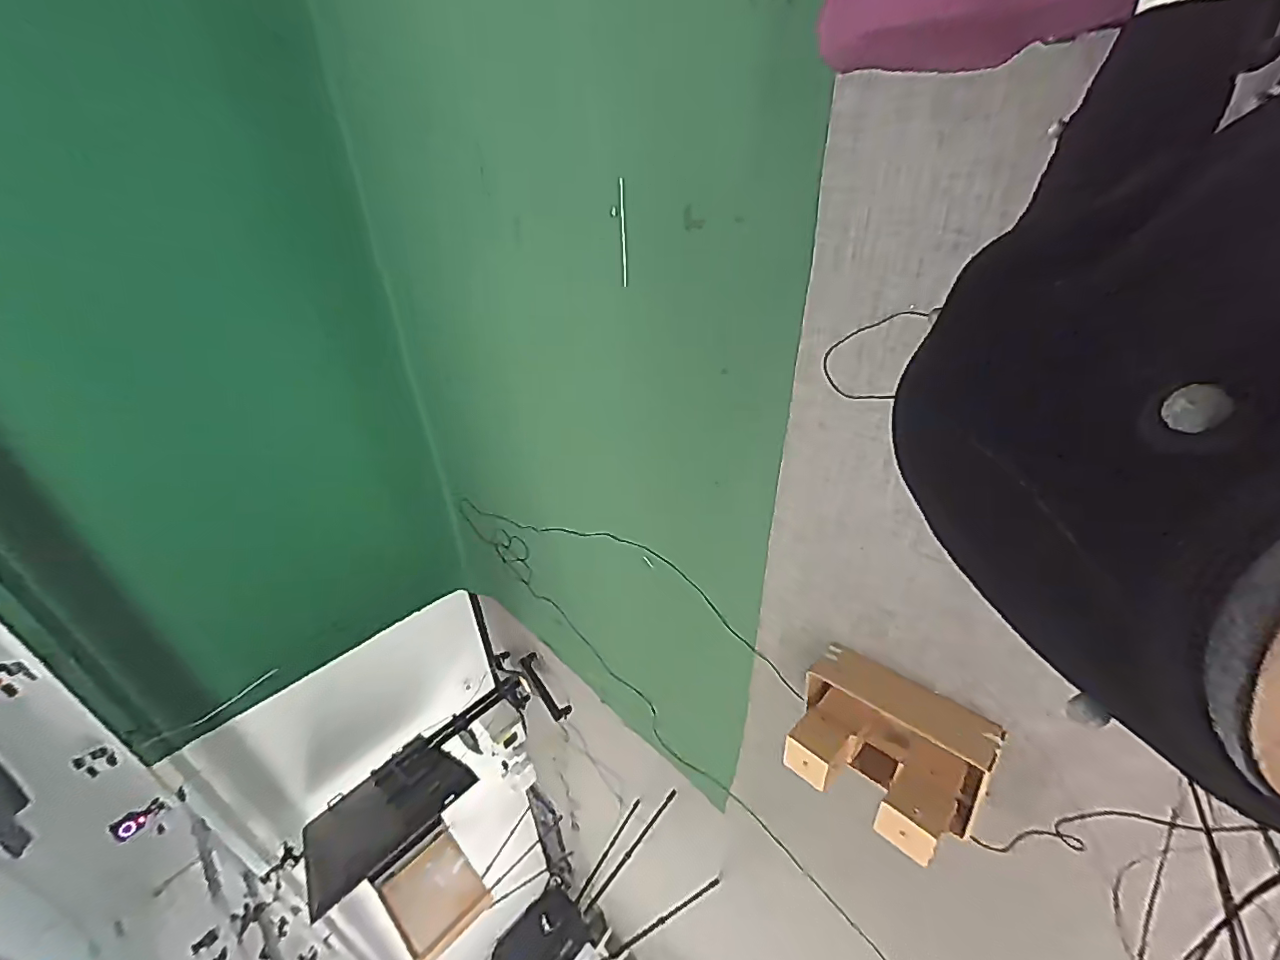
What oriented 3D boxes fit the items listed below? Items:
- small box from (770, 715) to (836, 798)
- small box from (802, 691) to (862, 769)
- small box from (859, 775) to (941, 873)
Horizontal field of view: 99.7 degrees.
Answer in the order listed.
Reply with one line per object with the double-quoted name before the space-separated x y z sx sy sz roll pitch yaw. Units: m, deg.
"small box" 0.602 1.008 1.987 0.168 0.176 0.179 26 131 39
"small box" 0.728 0.953 2.079 0.179 0.176 0.168 25 129 37
"small box" 0.852 1.115 1.767 0.179 0.176 0.168 26 129 38
